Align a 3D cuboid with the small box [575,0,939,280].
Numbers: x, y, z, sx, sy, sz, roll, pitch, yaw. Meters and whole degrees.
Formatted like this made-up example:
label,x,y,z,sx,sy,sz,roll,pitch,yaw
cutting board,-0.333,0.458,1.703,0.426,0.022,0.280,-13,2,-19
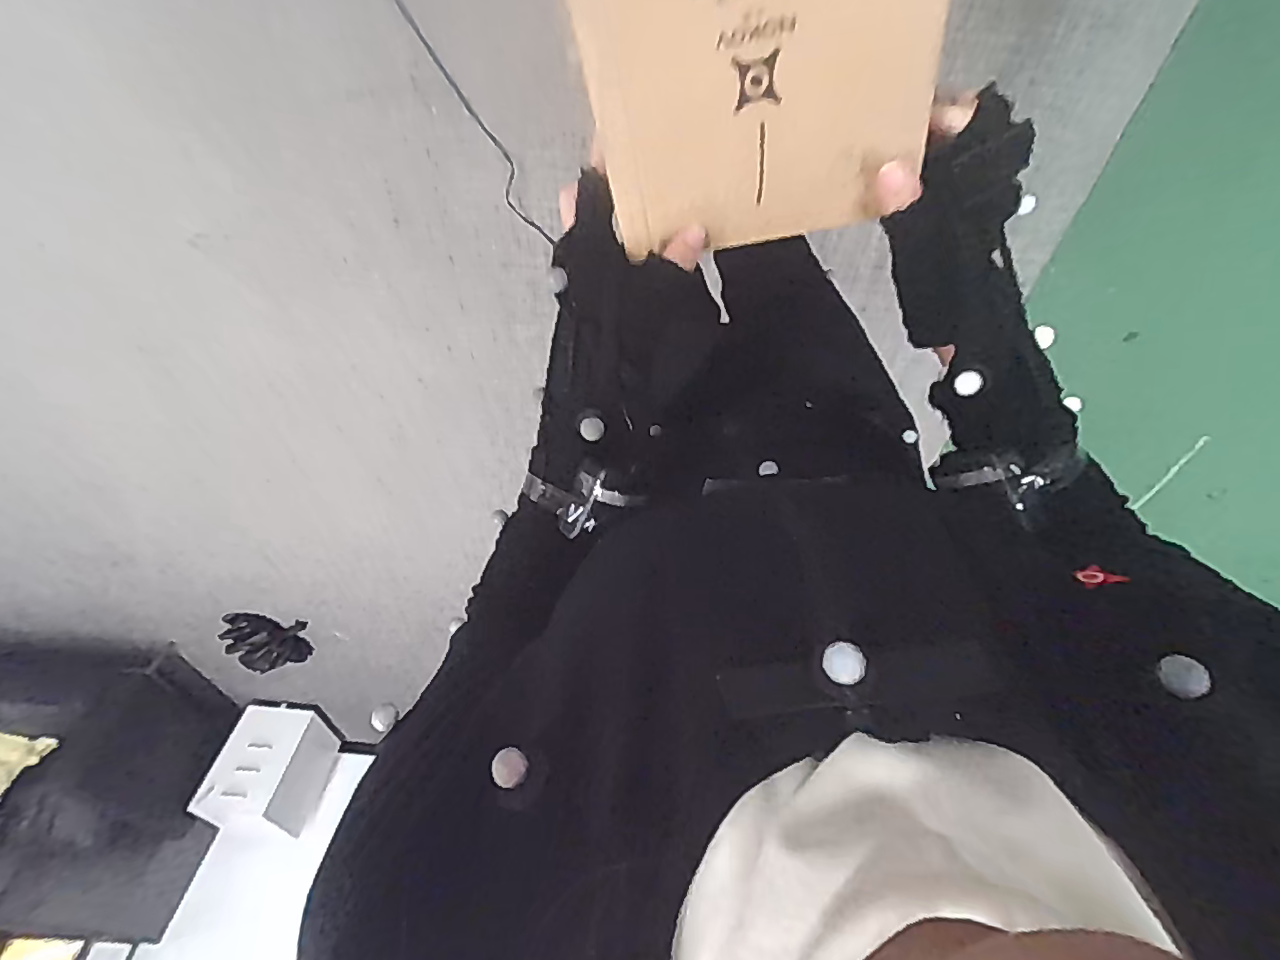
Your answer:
label,x,y,z,sx,sy,sz,roll,pitch,yaw
small box,0.061,-0.251,0.324,0.168,0.176,0.179,-5,137,10
